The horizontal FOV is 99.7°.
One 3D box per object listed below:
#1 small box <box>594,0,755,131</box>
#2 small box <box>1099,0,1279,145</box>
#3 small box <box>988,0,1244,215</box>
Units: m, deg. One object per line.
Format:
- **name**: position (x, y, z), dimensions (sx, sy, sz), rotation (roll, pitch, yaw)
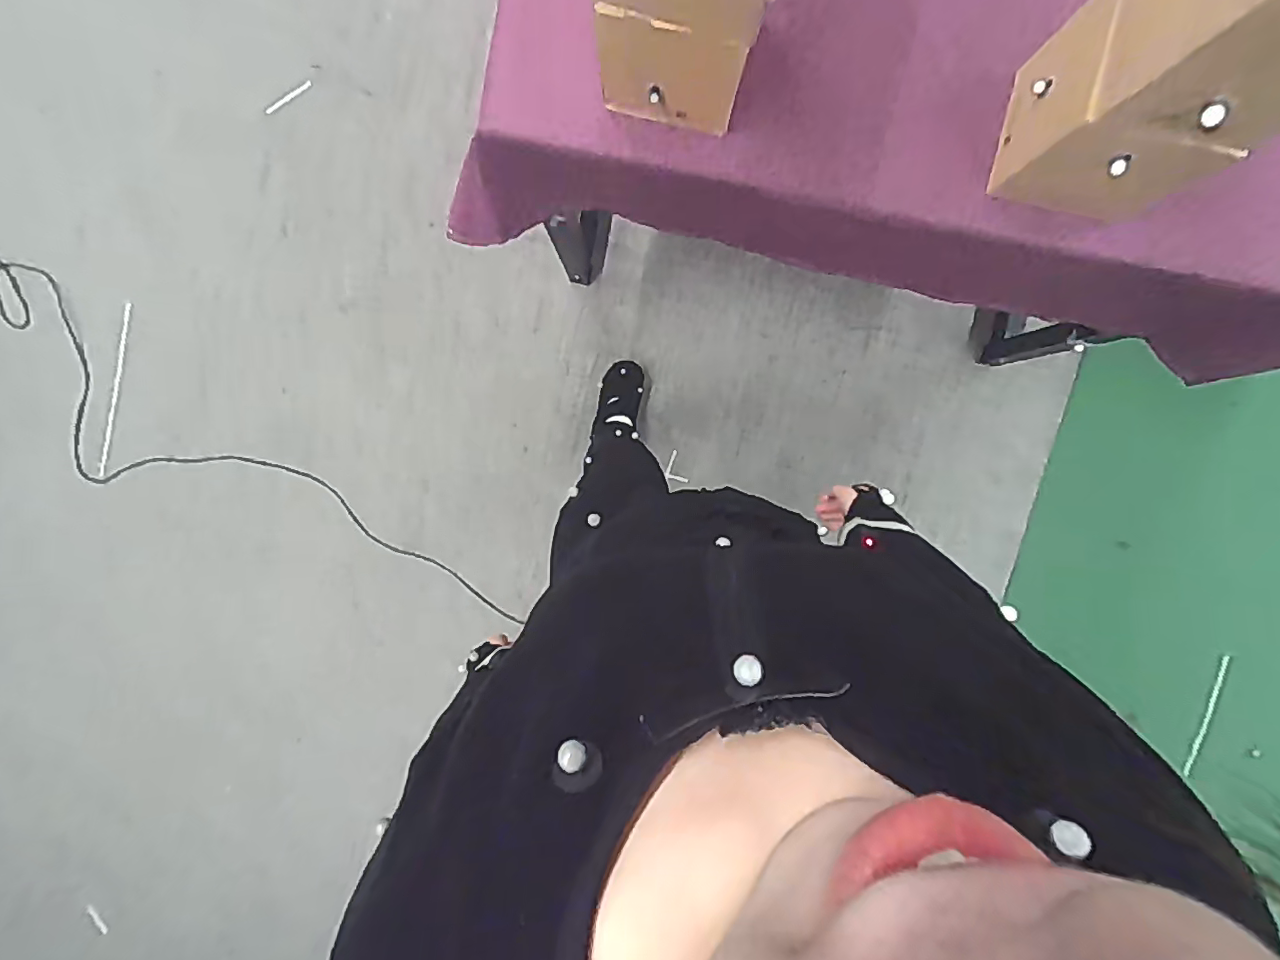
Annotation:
- **small box**: position (0.048, -0.557, 0.632), dimensions (0.168, 0.176, 0.179), rotation (13, 94, -1)
- **small box**: position (0.556, -0.436, 0.469), dimensions (0.168, 0.176, 0.179), rotation (10, 94, 0)
- **small box**: position (0.556, -0.439, 0.634), dimensions (0.179, 0.176, 0.168), rotation (13, 94, 0)
